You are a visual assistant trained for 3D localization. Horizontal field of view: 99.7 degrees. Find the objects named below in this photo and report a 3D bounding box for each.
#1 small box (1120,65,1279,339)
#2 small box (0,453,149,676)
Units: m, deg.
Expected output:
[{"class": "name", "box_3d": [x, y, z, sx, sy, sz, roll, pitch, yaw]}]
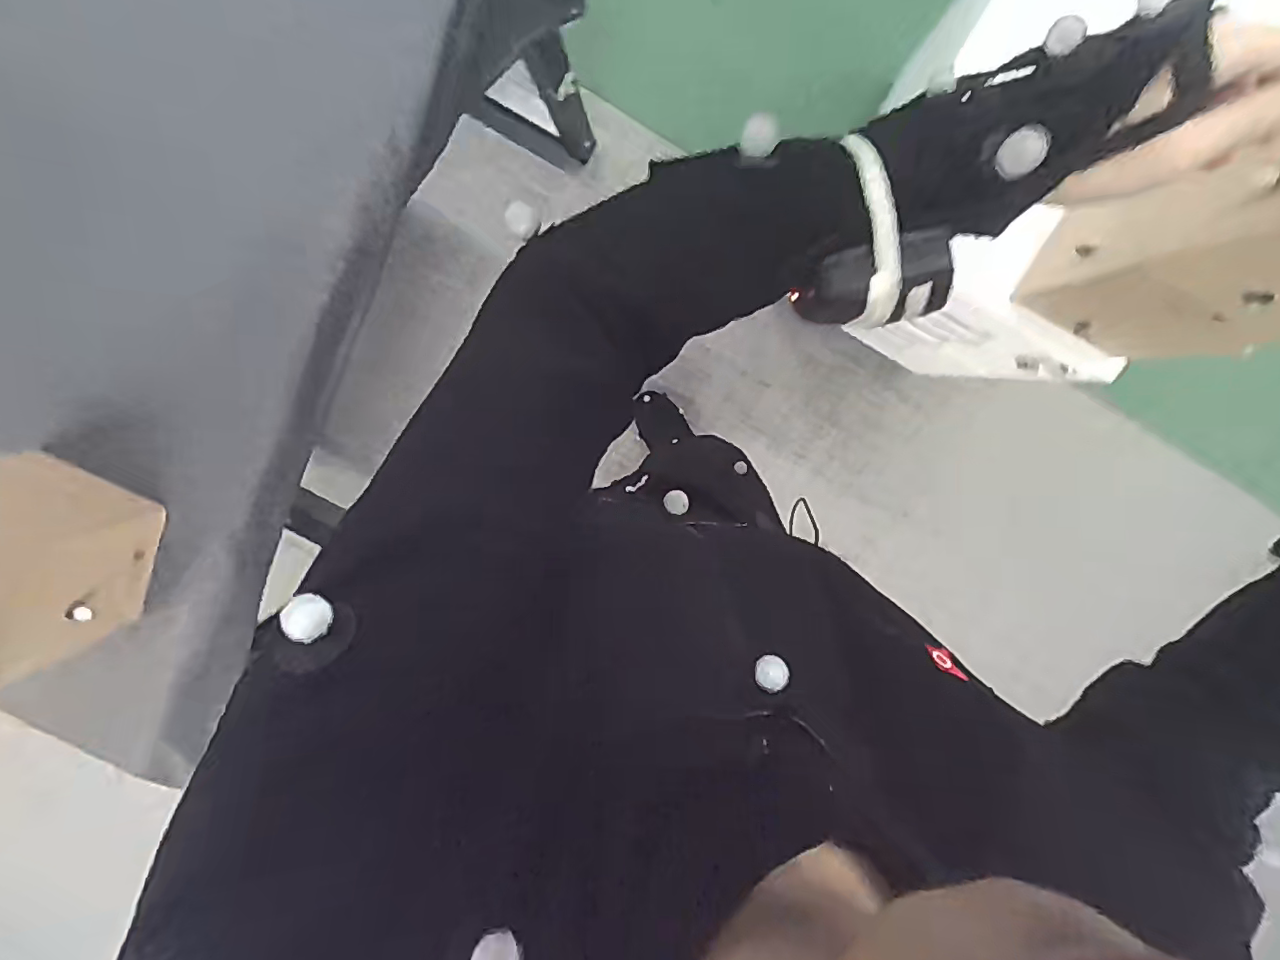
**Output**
[{"class": "small box", "box_3d": [0.557, -0.227, 0.438, 0.168, 0.176, 0.179, 26, 102, -3]}, {"class": "small box", "box_3d": [-0.698, 0.082, 0.586, 0.179, 0.176, 0.168, 25, 102, -3]}]
